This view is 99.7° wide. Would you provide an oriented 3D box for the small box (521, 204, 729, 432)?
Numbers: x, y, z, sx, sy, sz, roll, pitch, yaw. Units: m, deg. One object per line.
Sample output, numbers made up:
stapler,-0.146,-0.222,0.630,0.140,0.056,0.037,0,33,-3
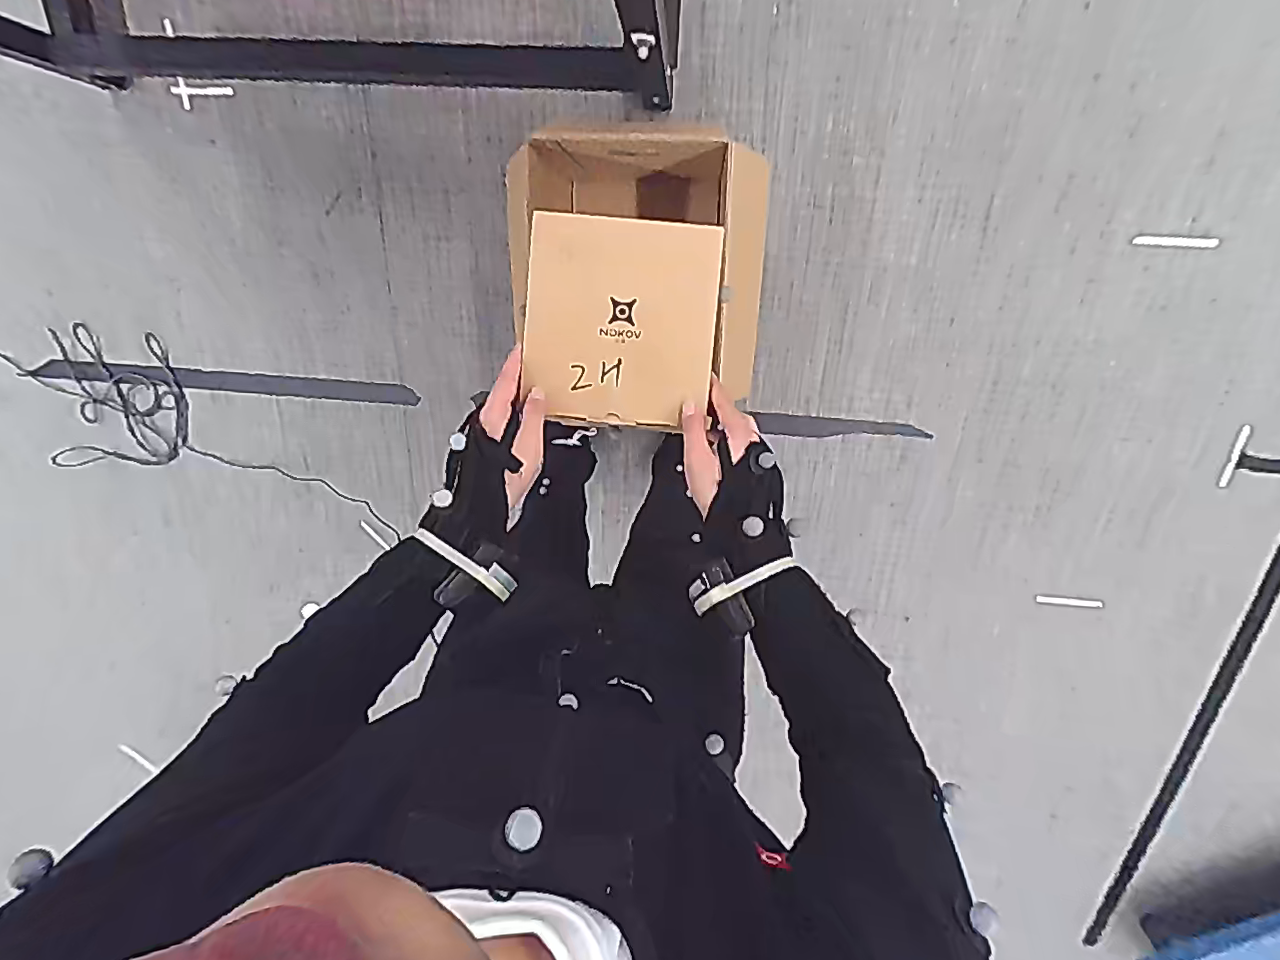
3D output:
small box,-0.014,-0.144,0.540,0.168,0.176,0.179,5,94,0
